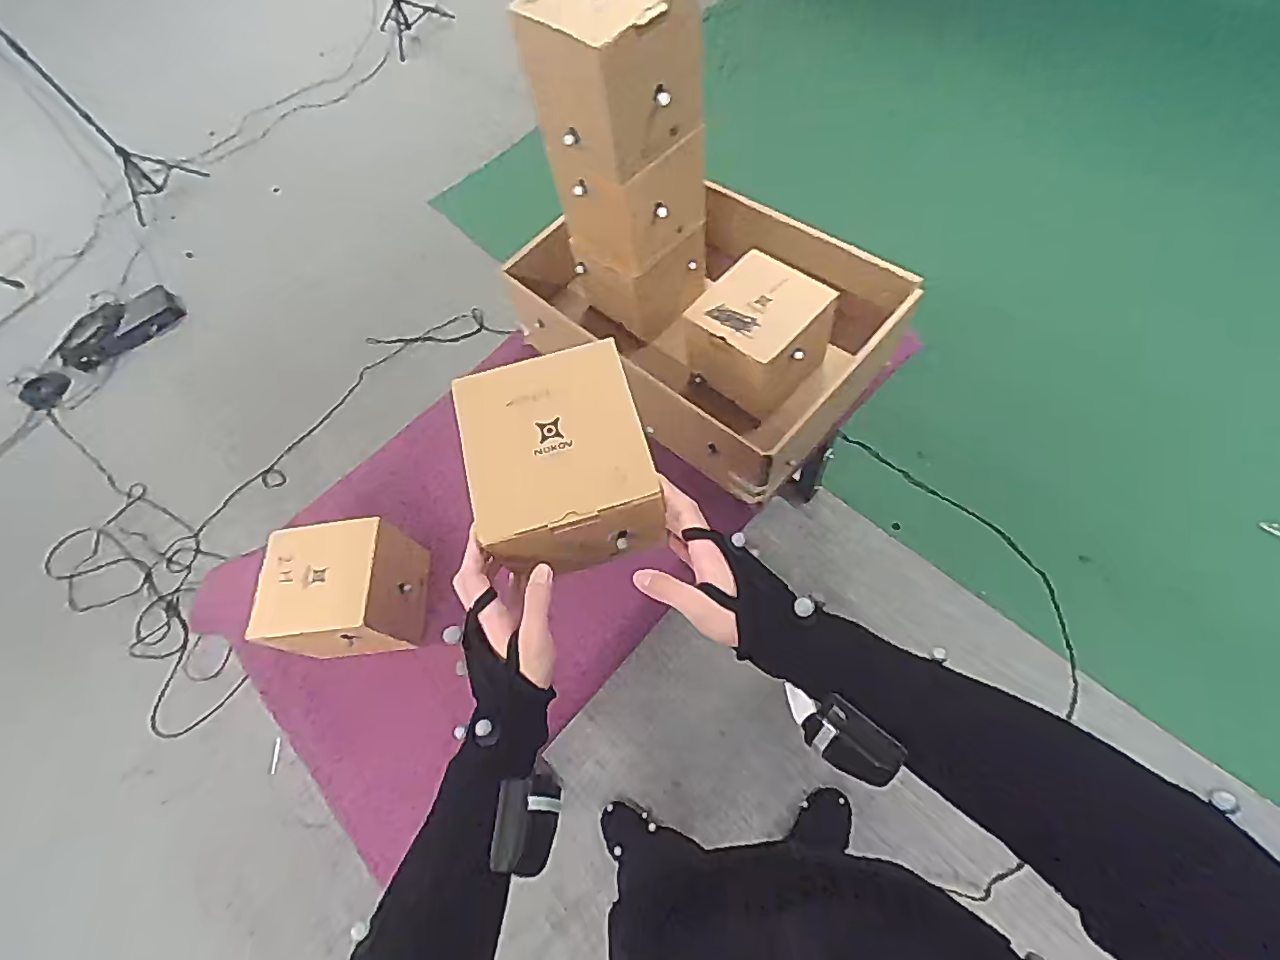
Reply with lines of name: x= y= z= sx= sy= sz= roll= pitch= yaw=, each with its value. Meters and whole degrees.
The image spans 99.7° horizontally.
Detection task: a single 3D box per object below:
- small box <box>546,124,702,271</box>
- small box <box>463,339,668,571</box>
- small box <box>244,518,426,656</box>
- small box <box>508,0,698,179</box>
small box: x=-0.014 y=-0.466 z=0.860 sx=0.168 sy=0.176 sz=0.179 roll=-44 pitch=66 yaw=-12
small box: x=-0.068 y=-0.012 z=0.567 sx=0.168 sy=0.176 sz=0.179 roll=-14 pitch=68 yaw=-3
small box: x=-0.458 y=0.172 z=0.846 sx=0.179 sy=0.176 sz=0.168 roll=-7 pitch=62 yaw=4
small box: x=-0.036 y=-0.538 z=0.715 sx=0.168 sy=0.176 sz=0.179 roll=-43 pitch=67 yaw=-13
